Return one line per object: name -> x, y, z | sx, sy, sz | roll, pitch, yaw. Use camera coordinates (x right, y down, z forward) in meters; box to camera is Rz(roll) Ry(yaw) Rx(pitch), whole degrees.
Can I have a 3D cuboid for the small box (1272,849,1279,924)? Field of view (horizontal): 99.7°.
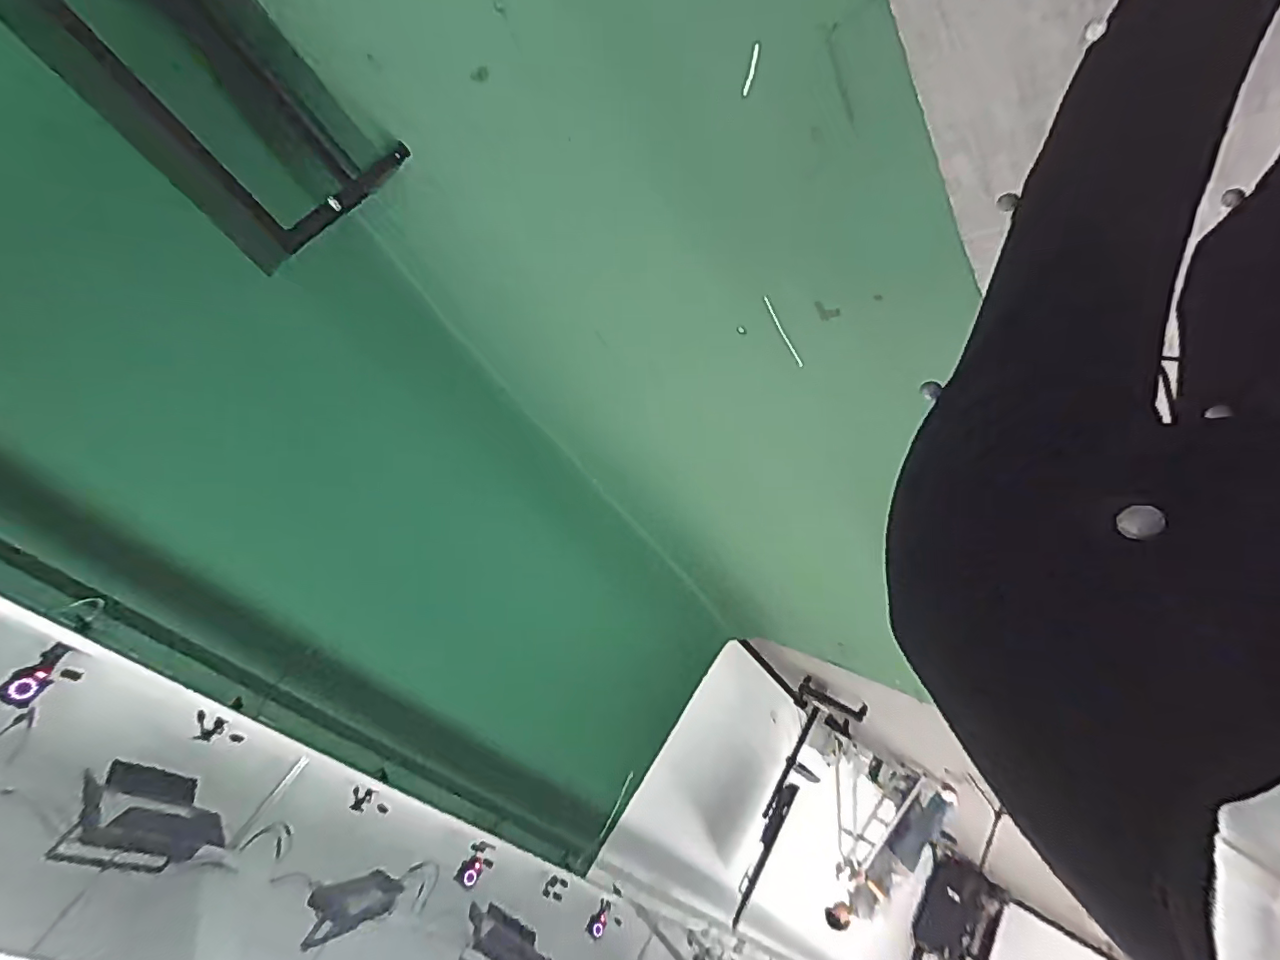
small box -> 1.548, 0.934, 1.200 | 0.179, 0.176, 0.168 | 45, 159, -26
